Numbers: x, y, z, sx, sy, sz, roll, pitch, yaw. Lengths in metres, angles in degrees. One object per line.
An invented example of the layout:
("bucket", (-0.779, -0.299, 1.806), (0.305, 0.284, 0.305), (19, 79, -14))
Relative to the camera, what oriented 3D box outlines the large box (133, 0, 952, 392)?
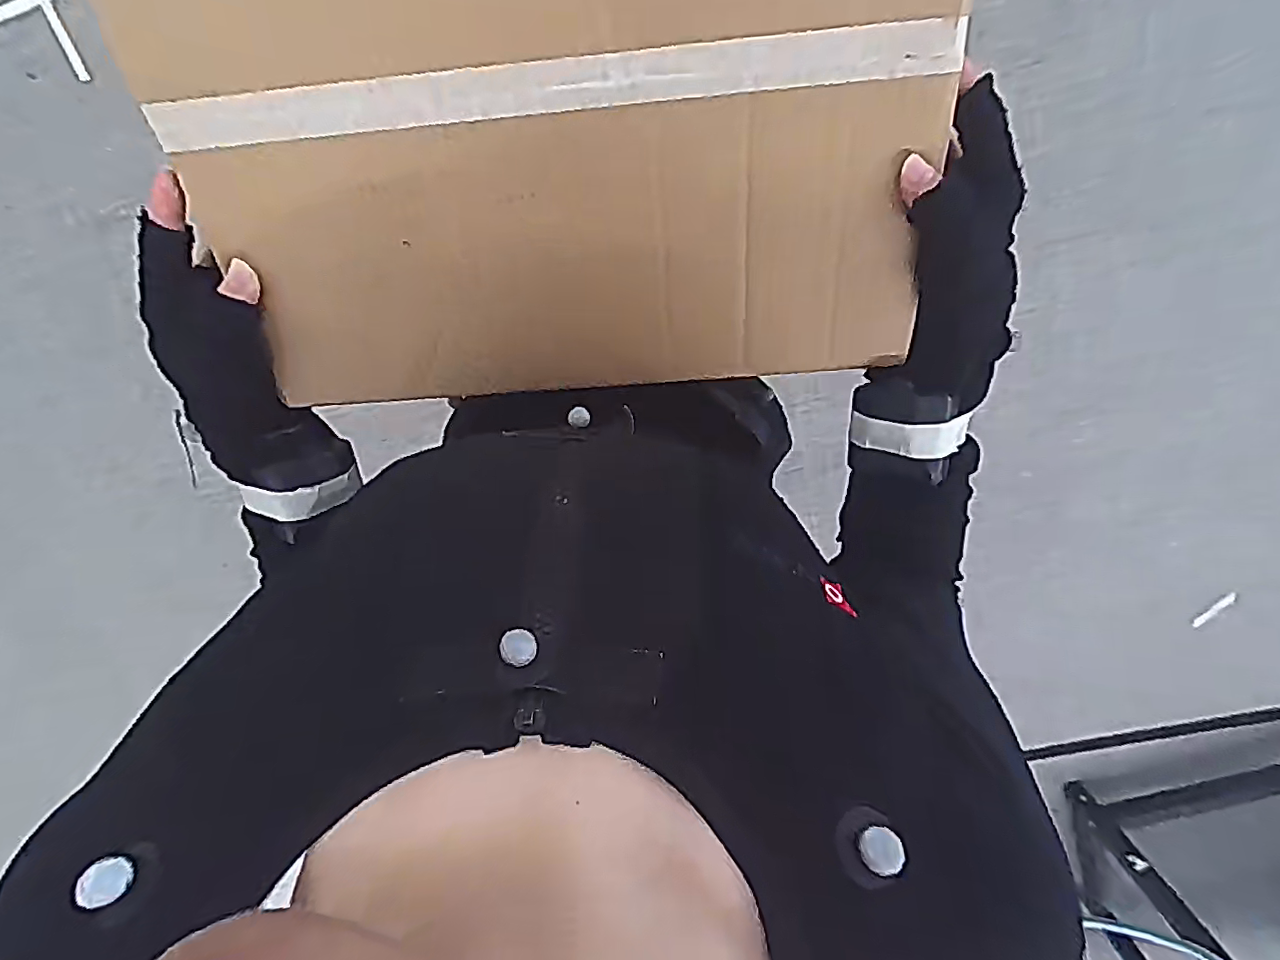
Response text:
("large box", (-0.046, -0.280, 0.405), (0.408, 0.320, 0.320), (-3, 122, 3))
